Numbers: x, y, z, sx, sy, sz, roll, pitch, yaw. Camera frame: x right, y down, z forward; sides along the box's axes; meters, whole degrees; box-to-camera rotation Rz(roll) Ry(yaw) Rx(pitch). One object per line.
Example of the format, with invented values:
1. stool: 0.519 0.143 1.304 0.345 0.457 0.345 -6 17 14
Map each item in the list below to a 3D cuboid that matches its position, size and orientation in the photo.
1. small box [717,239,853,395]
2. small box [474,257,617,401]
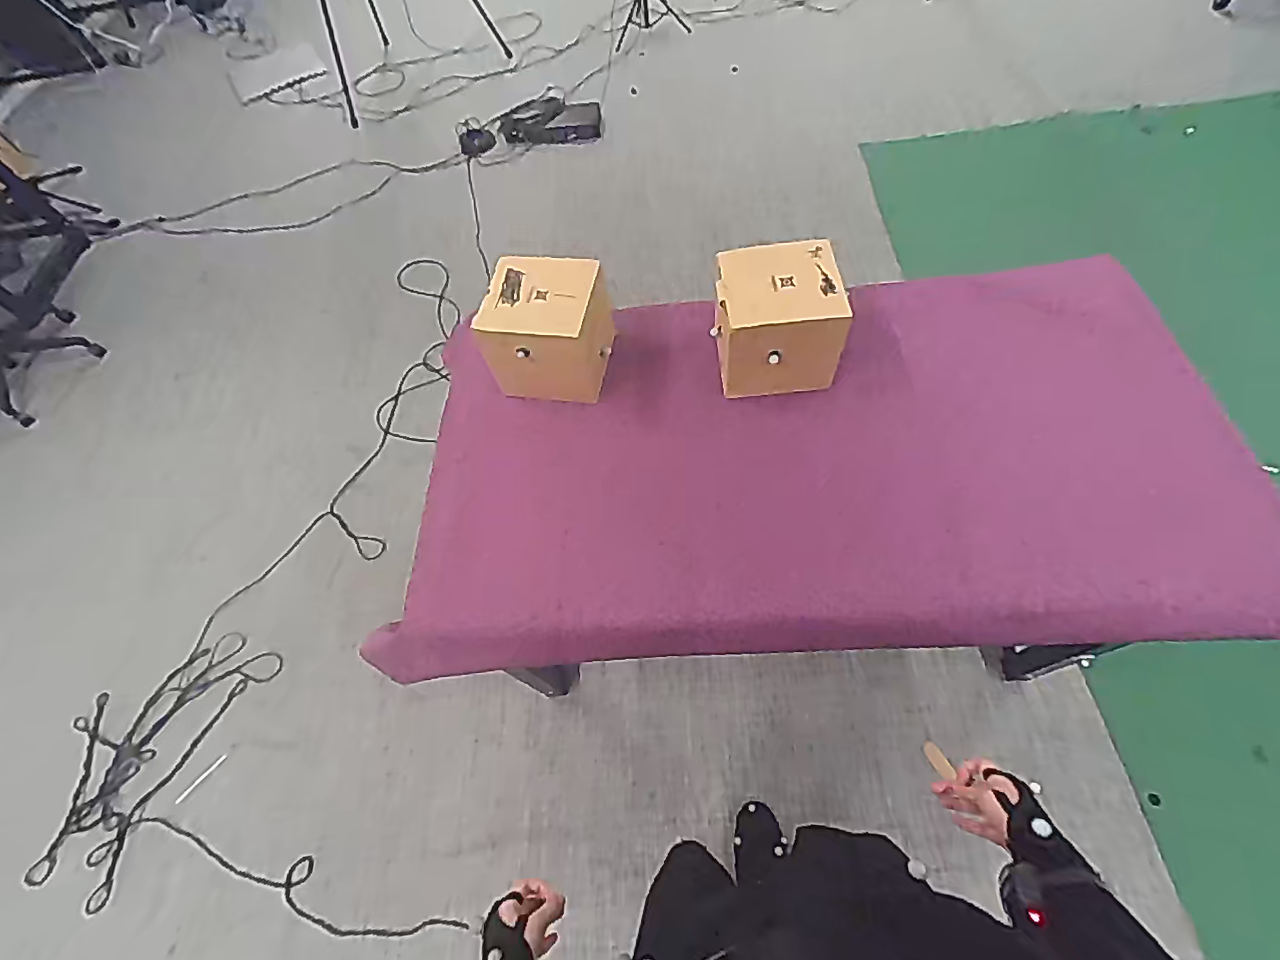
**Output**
1. small box: 0.220 -0.252 0.867 0.179 0.176 0.168 -6 62 5
2. small box: -0.147 -0.249 0.911 0.179 0.176 0.168 6 63 10
